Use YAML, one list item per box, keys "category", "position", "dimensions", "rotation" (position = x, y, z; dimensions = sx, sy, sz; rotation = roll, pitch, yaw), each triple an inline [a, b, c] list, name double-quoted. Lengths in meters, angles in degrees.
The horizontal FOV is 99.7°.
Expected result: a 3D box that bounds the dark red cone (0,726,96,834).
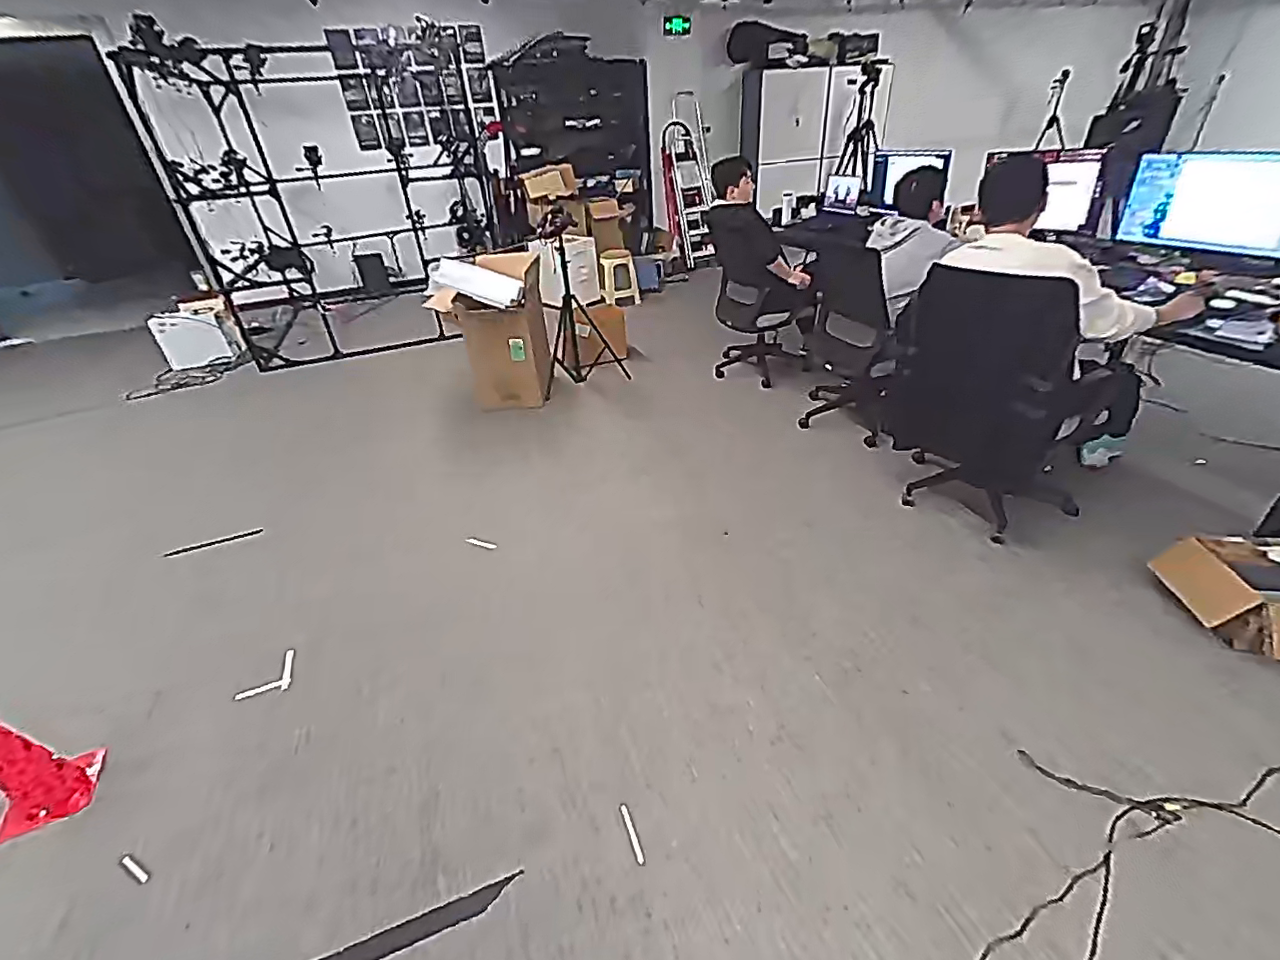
- category: "dark red cone"
  position: [-1.623, 0.698, 1.371]
  dimensions: [0.202, 0.394, 0.201]
  rotation: [-20, 37, -22]
